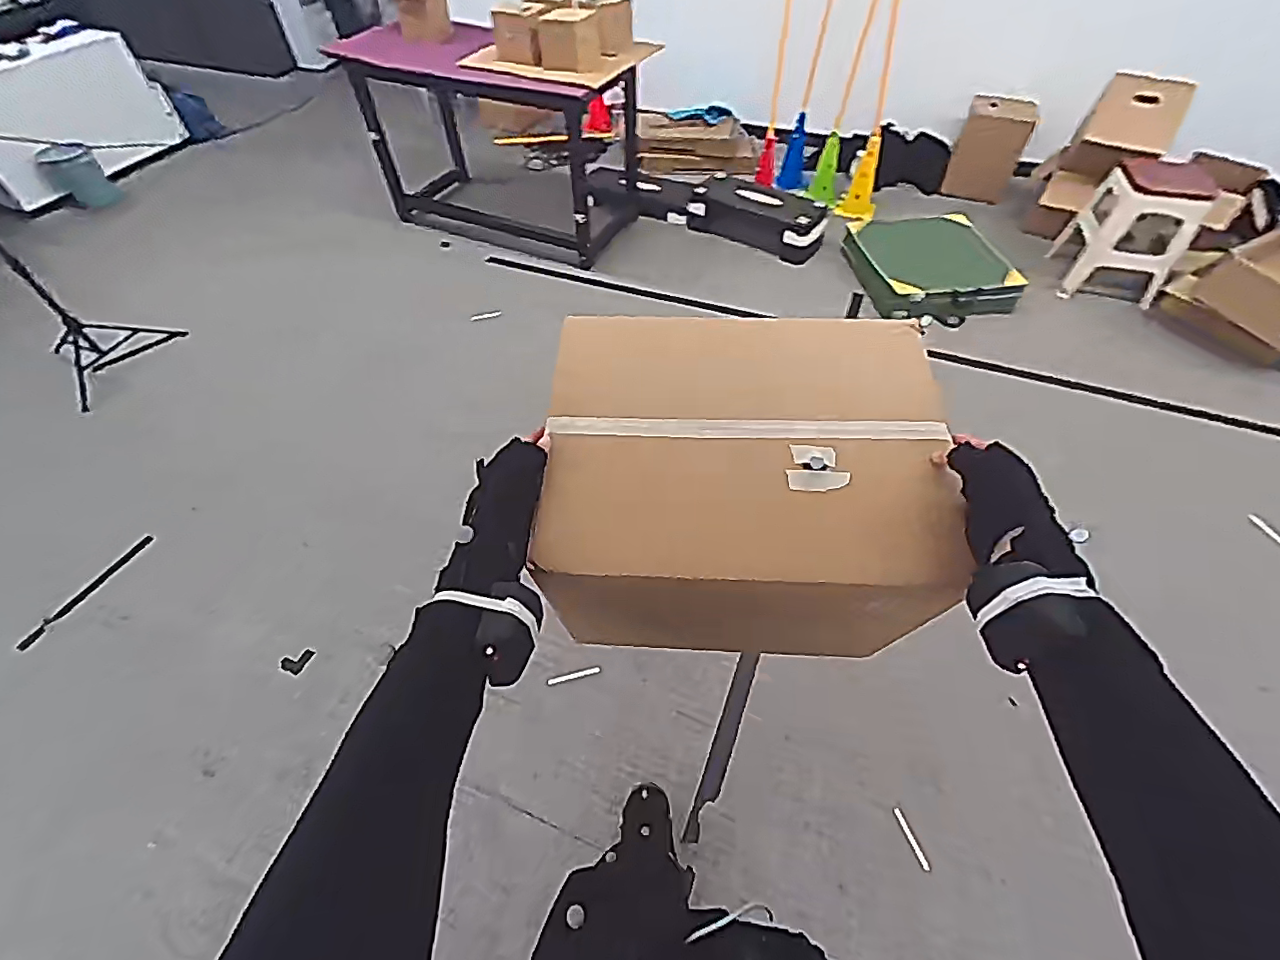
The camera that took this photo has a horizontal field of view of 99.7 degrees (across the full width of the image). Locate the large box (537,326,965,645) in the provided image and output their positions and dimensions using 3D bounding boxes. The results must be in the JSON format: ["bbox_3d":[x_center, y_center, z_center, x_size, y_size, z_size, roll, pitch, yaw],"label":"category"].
[{"bbox_3d":[0.106,0.023,0.698,0.408,0.320,0.320,1,62,3],"label":"large box"}]
